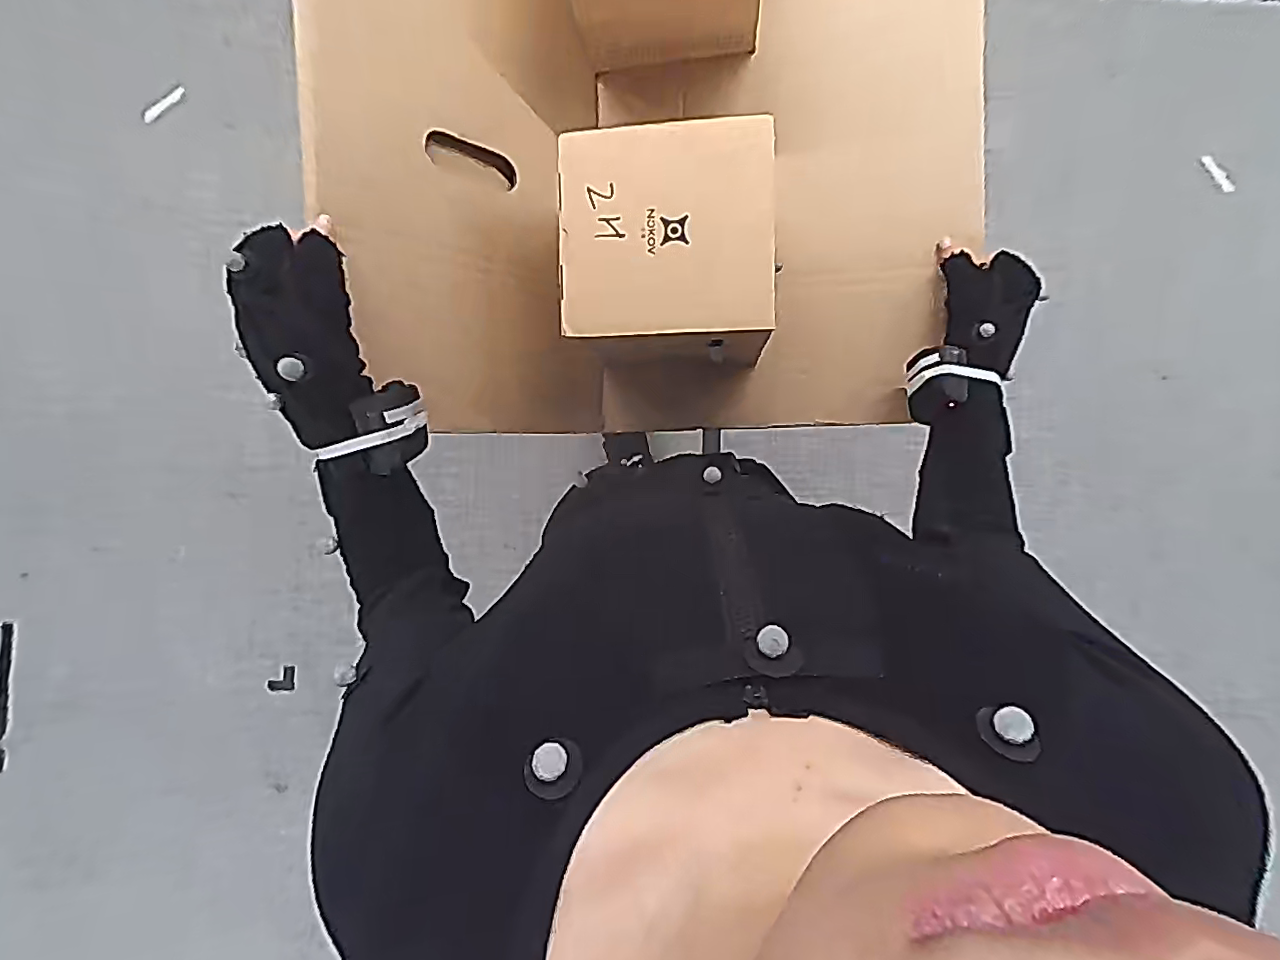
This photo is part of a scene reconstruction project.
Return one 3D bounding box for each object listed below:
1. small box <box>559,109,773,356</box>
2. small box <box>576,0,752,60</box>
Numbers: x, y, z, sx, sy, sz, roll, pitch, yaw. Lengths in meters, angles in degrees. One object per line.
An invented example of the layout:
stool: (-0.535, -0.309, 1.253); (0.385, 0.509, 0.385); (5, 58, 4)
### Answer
small box: (0.029, -0.217, 0.520); (0.179, 0.176, 0.168); (0, 93, 8)
small box: (0.018, -0.536, 0.504); (0.179, 0.176, 0.168); (-2, 93, 7)
